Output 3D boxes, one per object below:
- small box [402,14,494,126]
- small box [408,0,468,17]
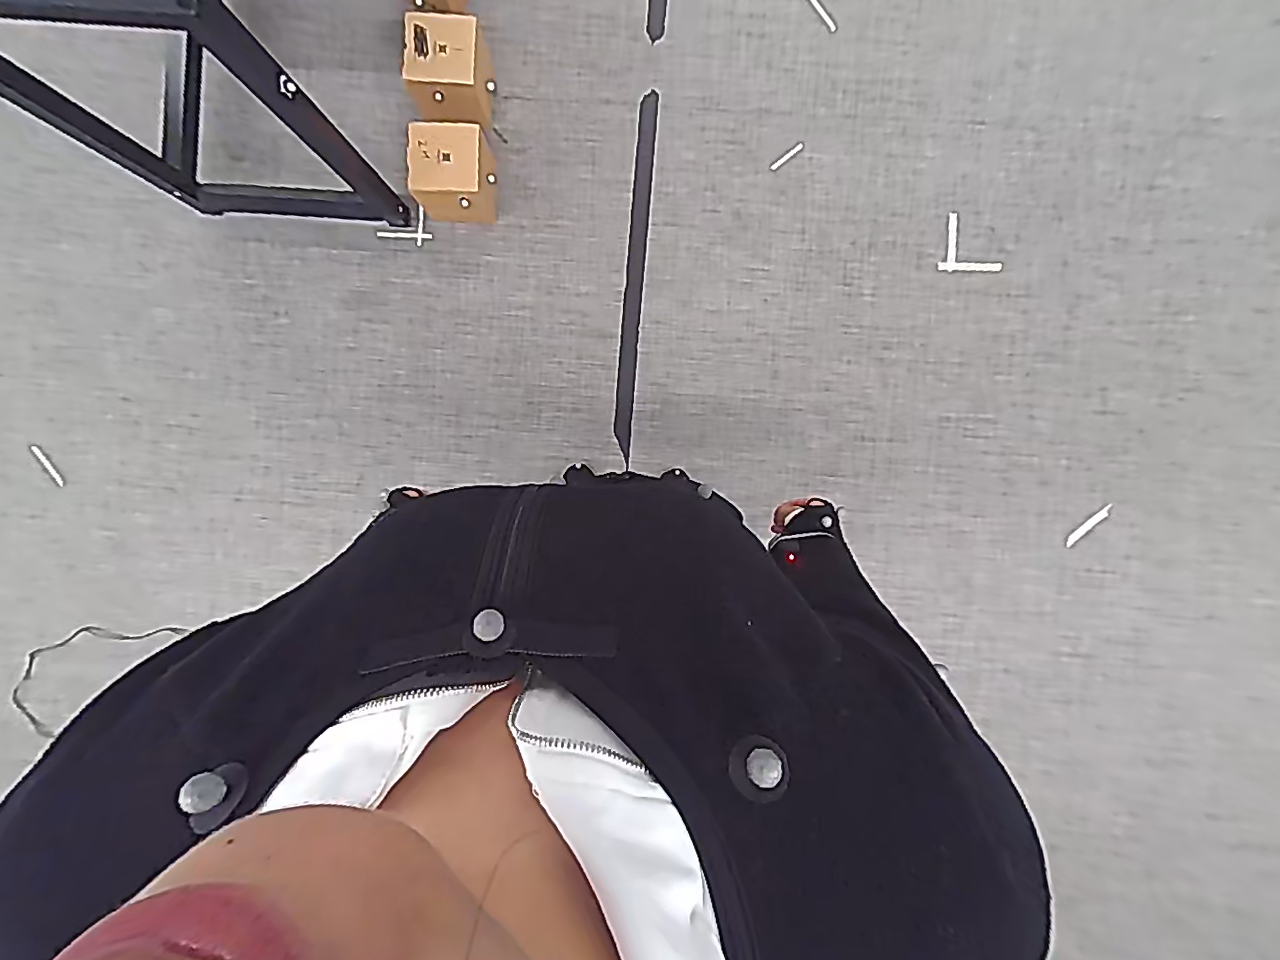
[{"bbox_3d":[-0.491,-1.051,1.399,0.179,0.176,0.168,3,92,-1],"label":"small box"},{"bbox_3d":[-0.536,-1.349,1.392,0.168,0.176,0.179,25,93,0],"label":"small box"}]
